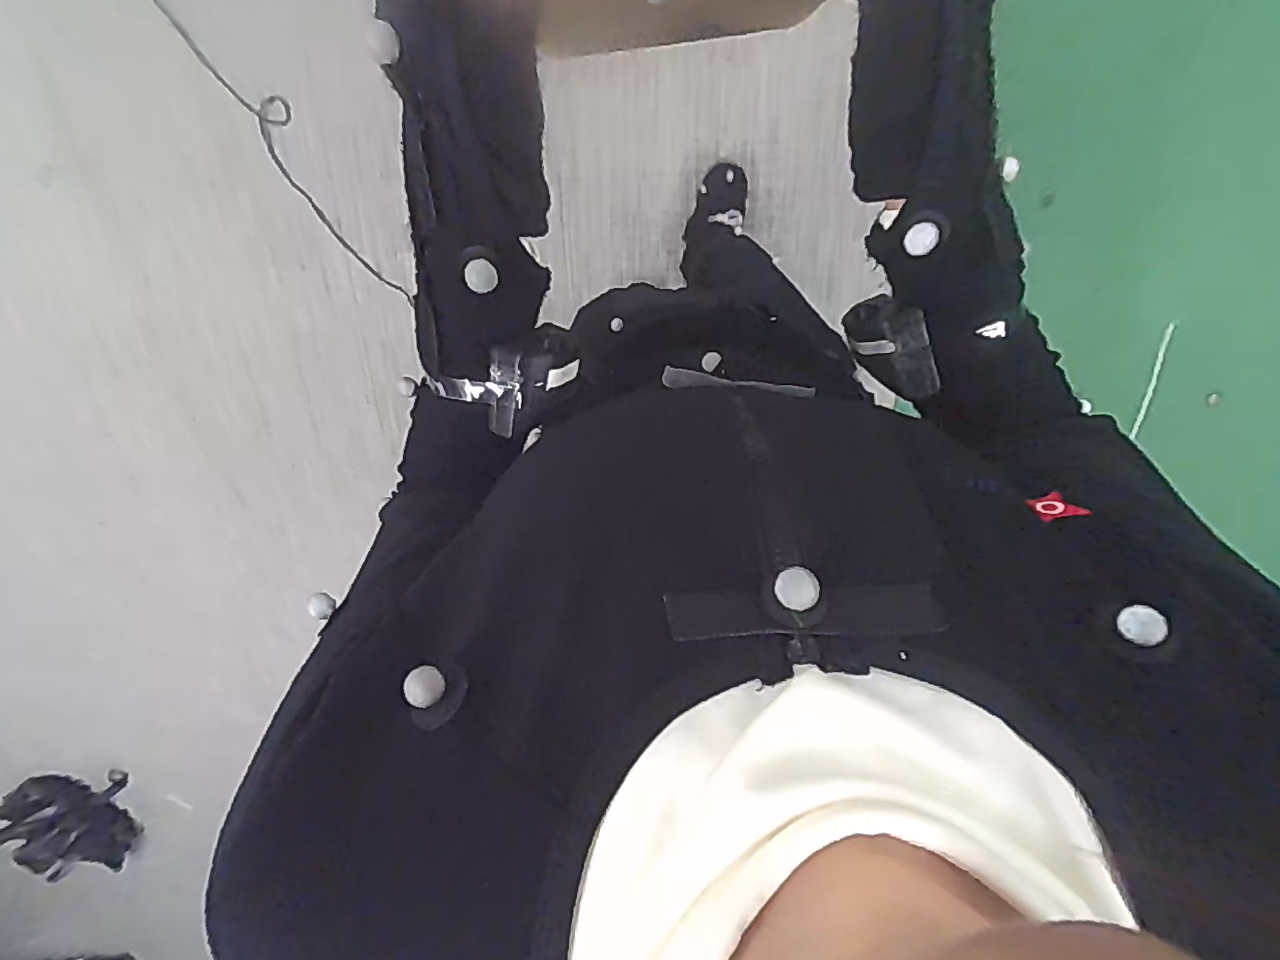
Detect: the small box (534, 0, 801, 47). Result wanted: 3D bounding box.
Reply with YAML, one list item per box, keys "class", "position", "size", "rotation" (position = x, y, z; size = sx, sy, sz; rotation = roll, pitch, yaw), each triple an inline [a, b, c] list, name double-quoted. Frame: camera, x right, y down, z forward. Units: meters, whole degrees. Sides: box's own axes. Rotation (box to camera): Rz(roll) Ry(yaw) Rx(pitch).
- class: "small box"
  position: [0.012, -0.323, 0.229]
  size: [0.168, 0.176, 0.179]
  rotation: [-6, 116, 2]
